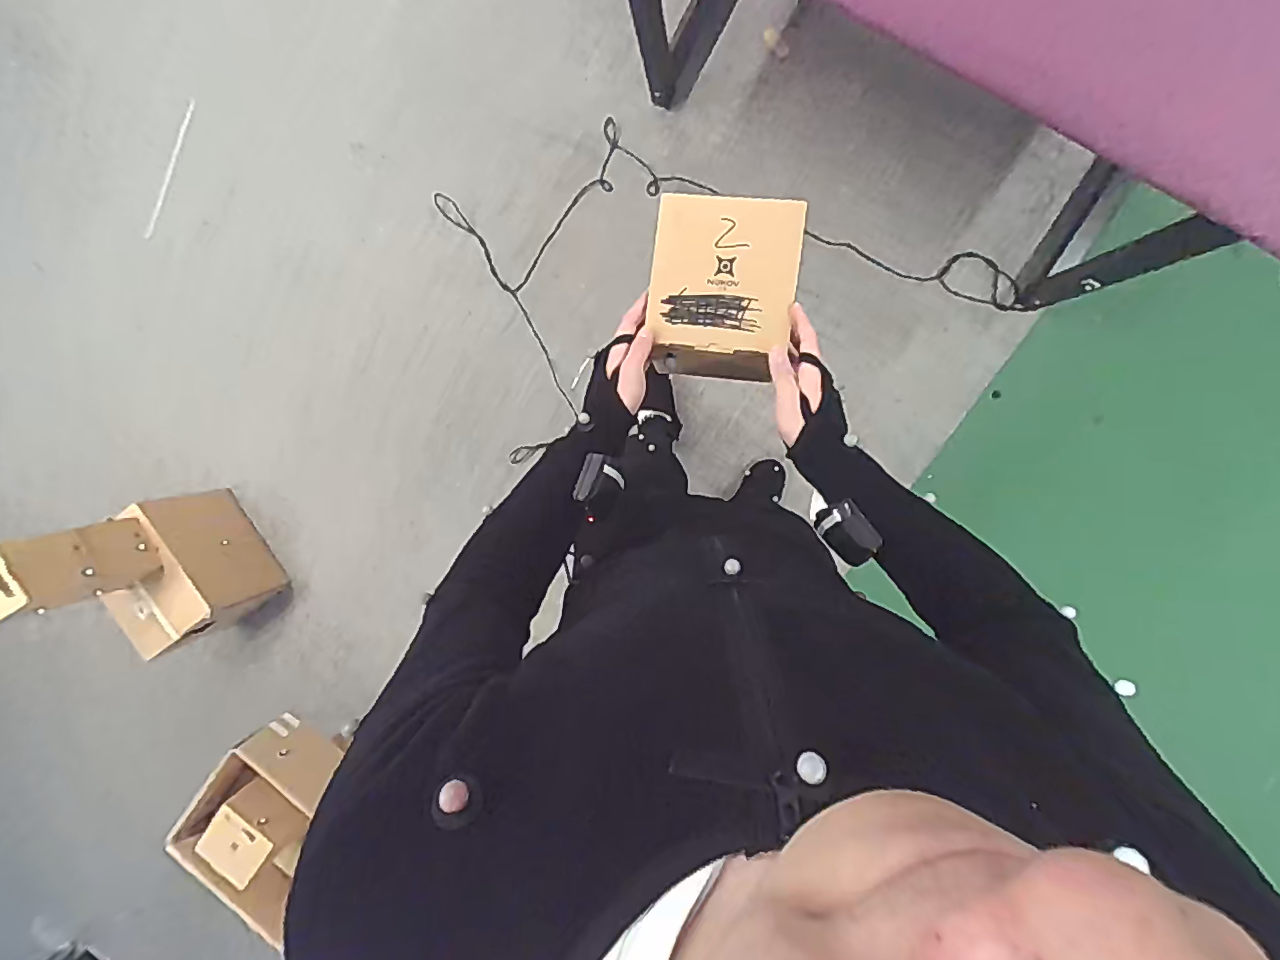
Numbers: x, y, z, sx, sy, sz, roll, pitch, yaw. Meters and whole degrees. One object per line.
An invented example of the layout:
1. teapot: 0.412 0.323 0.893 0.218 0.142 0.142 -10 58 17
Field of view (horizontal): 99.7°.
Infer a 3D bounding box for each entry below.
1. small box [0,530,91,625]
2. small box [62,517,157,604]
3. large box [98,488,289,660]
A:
1. small box: -1.543 0.244 1.352 0.179 0.176 0.168 -27 93 11
2. small box: -1.528 0.224 1.514 0.179 0.176 0.168 -28 93 9
3. large box: -1.476 0.287 1.764 0.320 0.320 0.408 -34 92 12
